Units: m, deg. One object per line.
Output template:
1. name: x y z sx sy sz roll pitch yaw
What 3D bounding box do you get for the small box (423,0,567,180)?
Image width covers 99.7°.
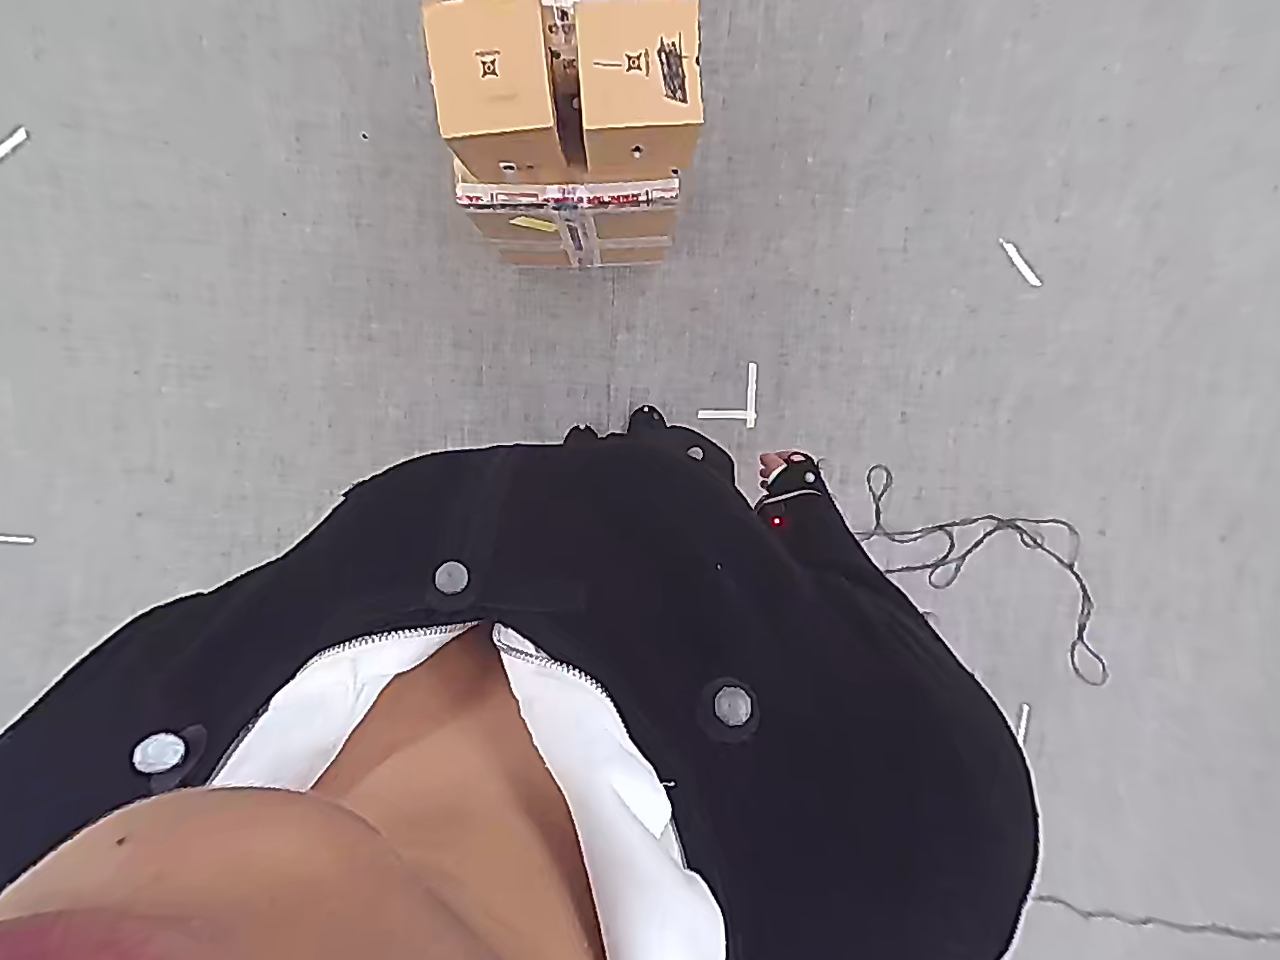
1. small box: -0.212 -0.595 0.840 0.168 0.176 0.179 -6 102 1

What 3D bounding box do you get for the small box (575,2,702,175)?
1. small box: -0.005 -0.598 0.845 0.179 0.176 0.168 -4 100 -2
